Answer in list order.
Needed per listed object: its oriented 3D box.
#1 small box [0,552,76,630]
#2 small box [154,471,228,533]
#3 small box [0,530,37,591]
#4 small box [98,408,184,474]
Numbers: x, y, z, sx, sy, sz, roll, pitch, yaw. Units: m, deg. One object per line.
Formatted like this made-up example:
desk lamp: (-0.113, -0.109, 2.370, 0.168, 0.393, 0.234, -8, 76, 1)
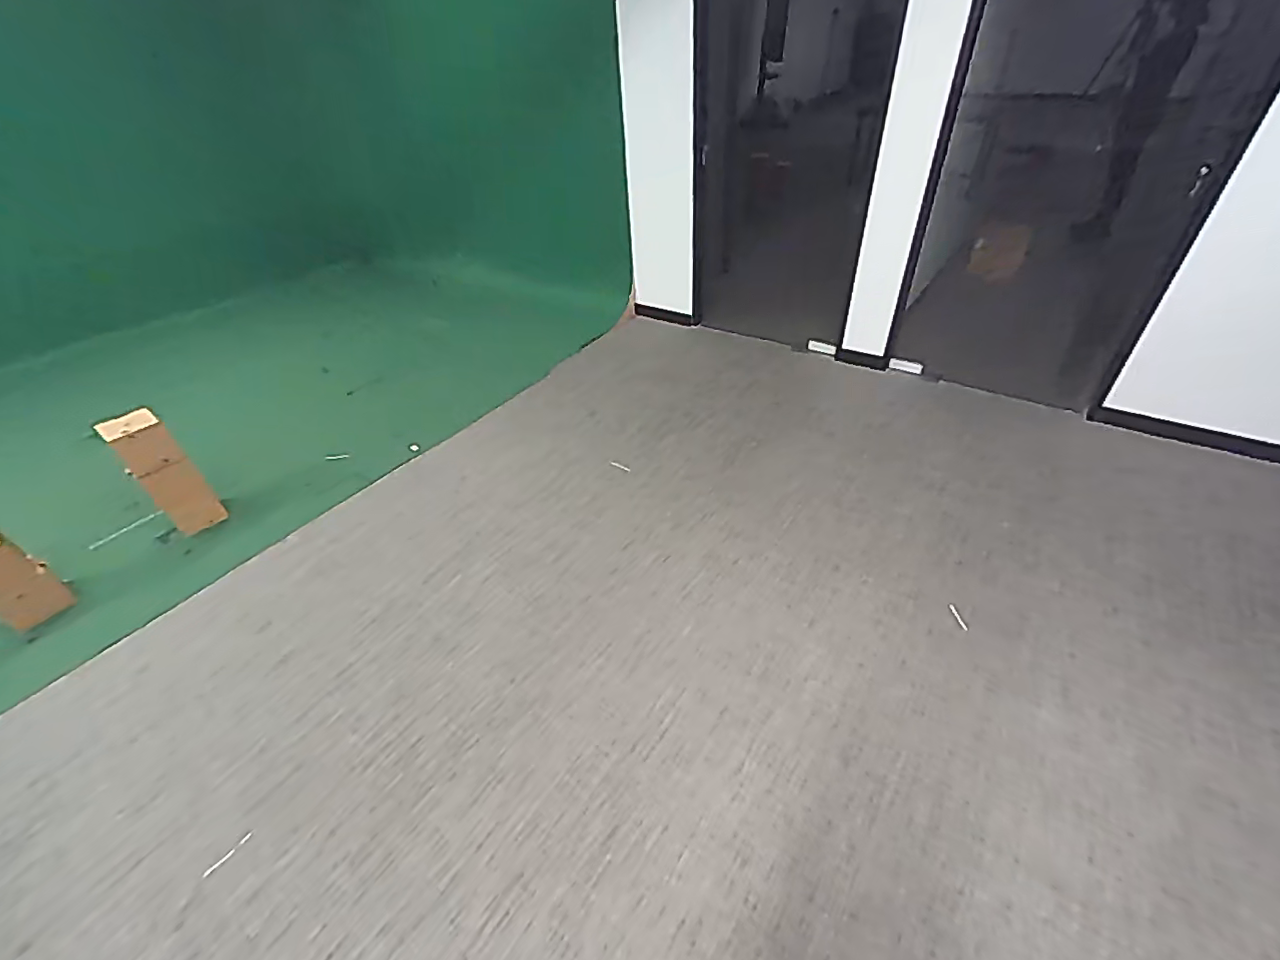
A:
small box: (-2.194, 0.398, 1.925, 0.168, 0.176, 0.179, 23, 47, 27)
small box: (-1.880, 0.098, 2.269, 0.179, 0.176, 0.168, 29, 49, 34)
small box: (-2.208, 0.281, 1.813, 0.168, 0.176, 0.179, 25, 47, 29)
small box: (-1.890, -0.148, 2.051, 0.179, 0.176, 0.168, 25, 46, 31)
